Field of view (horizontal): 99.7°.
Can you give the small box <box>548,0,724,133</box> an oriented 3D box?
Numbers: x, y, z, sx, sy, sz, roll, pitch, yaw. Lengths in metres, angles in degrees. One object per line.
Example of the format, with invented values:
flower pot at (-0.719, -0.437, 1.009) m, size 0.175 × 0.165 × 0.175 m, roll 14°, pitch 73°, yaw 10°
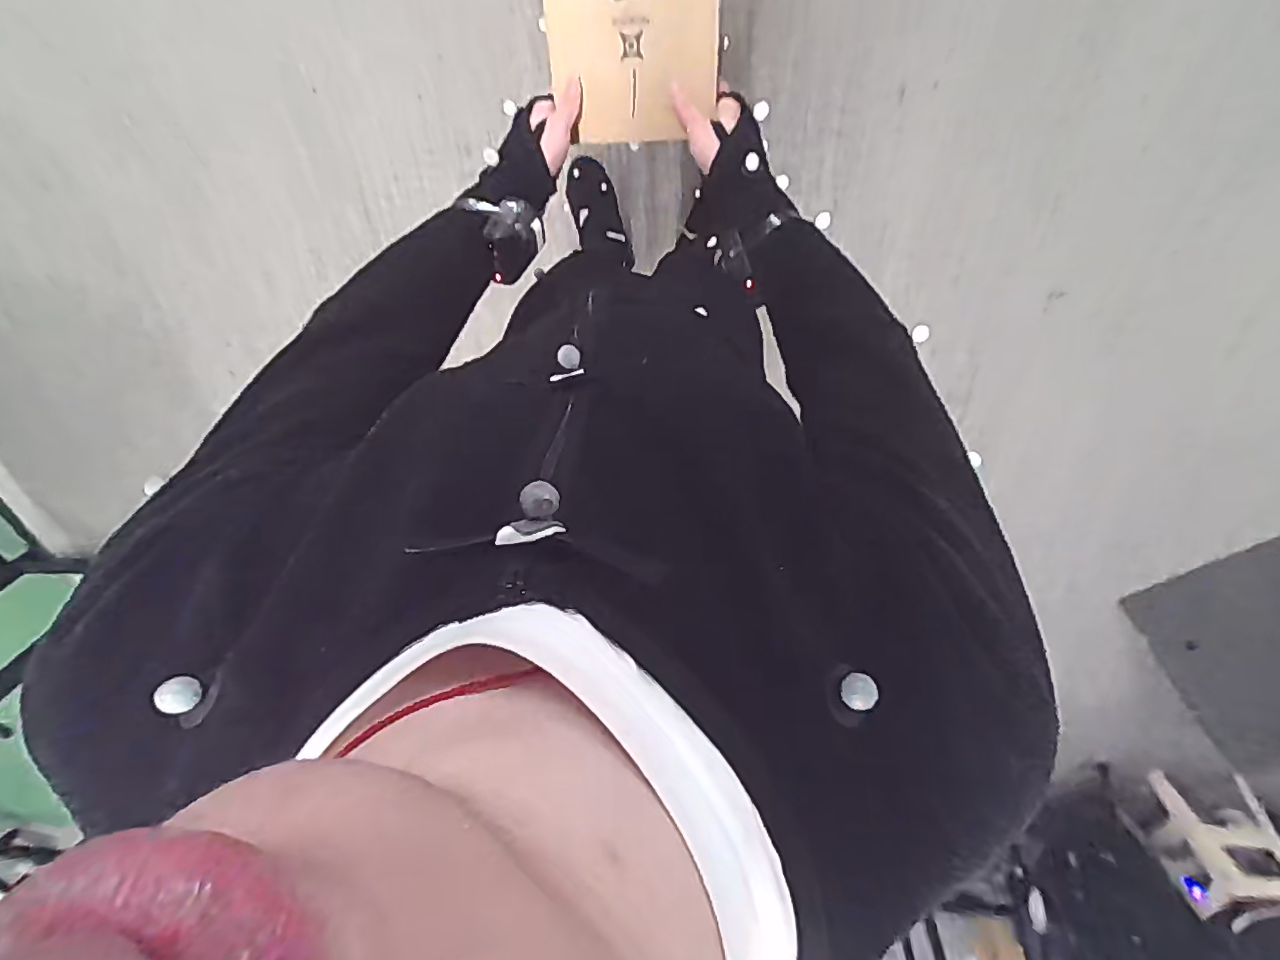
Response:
small box at (-0.003, -0.475, 0.571) m, size 0.168 × 0.176 × 0.179 m, roll 1°, pitch 126°, yaw 2°
